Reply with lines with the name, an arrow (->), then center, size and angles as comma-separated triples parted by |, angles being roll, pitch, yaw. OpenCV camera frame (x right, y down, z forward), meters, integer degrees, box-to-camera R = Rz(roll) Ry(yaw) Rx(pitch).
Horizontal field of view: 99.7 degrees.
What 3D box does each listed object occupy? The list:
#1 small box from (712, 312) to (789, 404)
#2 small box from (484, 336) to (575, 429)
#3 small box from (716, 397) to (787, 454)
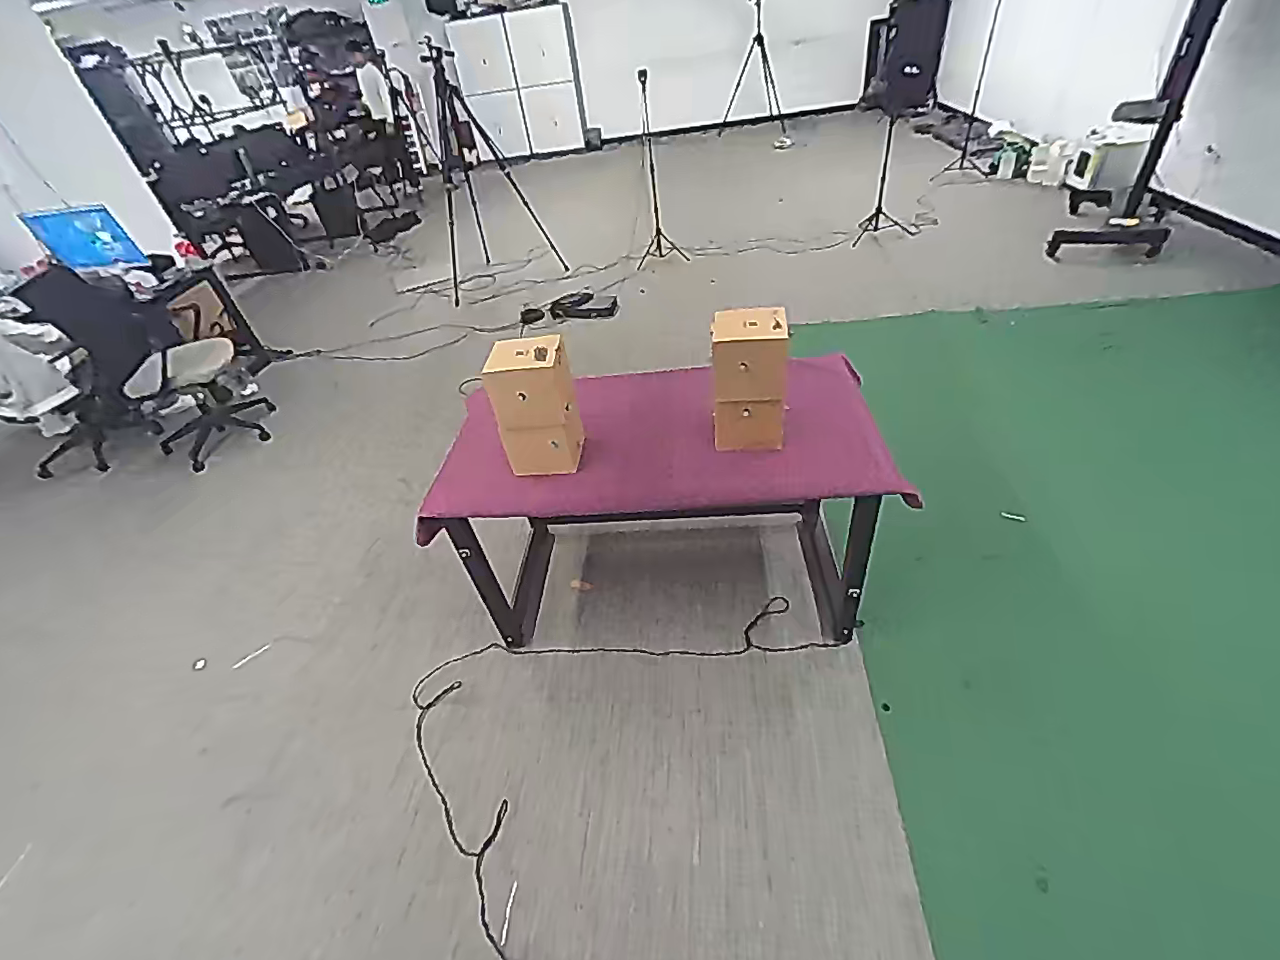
small box -> 0.276, -0.299, 1.340 | 0.179, 0.176, 0.168 | 0, 42, 12
small box -> -0.269, -0.245, 1.367 | 0.179, 0.176, 0.168 | -4, 41, 5
small box -> 0.297, -0.183, 1.455 | 0.179, 0.176, 0.168 | 0, 42, 11
